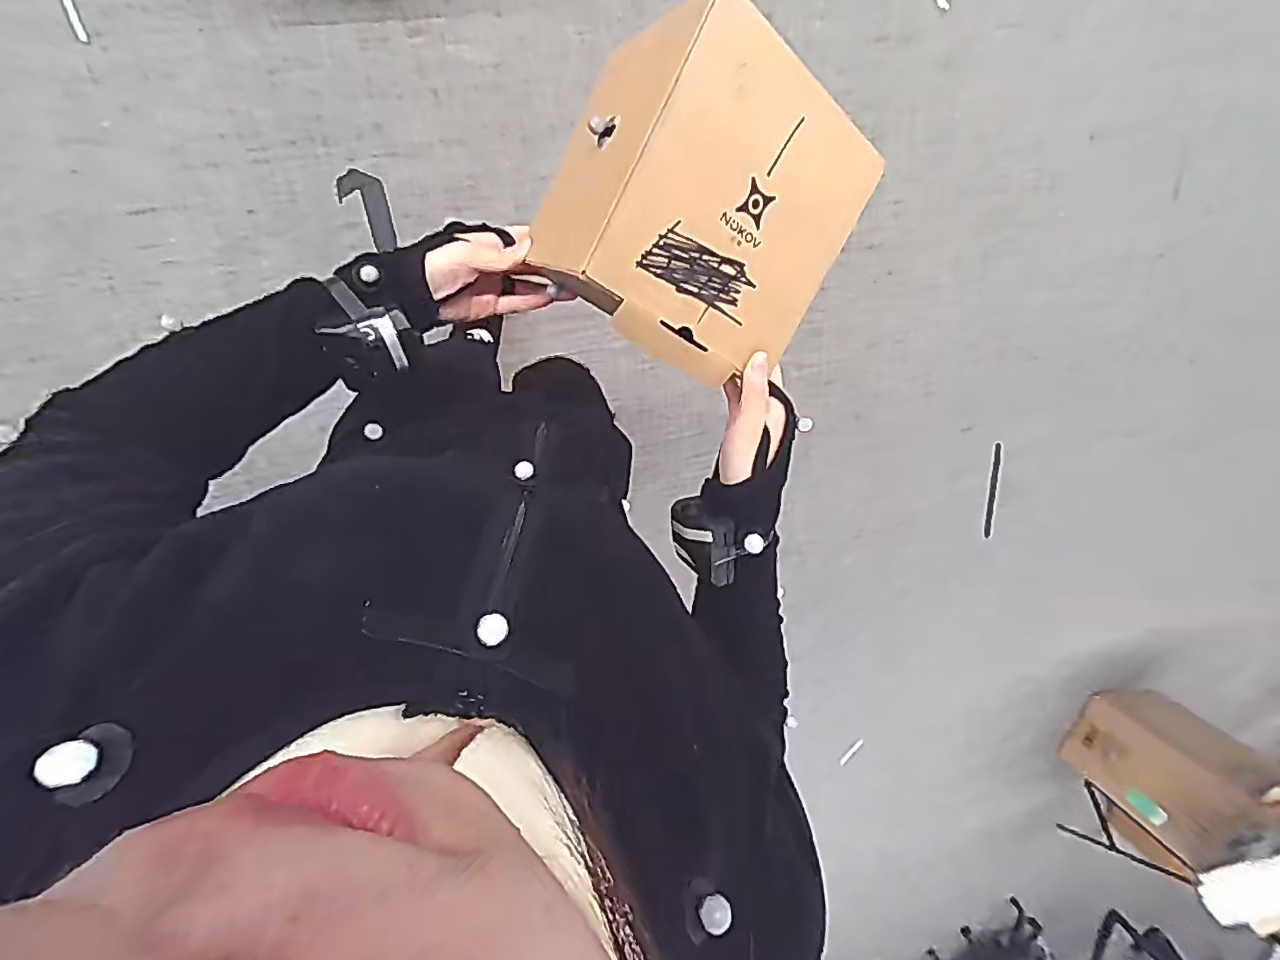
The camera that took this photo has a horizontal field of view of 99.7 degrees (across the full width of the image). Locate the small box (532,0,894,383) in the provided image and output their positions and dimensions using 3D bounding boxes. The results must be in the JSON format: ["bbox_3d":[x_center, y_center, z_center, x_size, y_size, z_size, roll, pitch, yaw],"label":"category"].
[{"bbox_3d":[0.036,-0.200,0.401,0.168,0.176,0.179,22,102,-33],"label":"small box"}]
